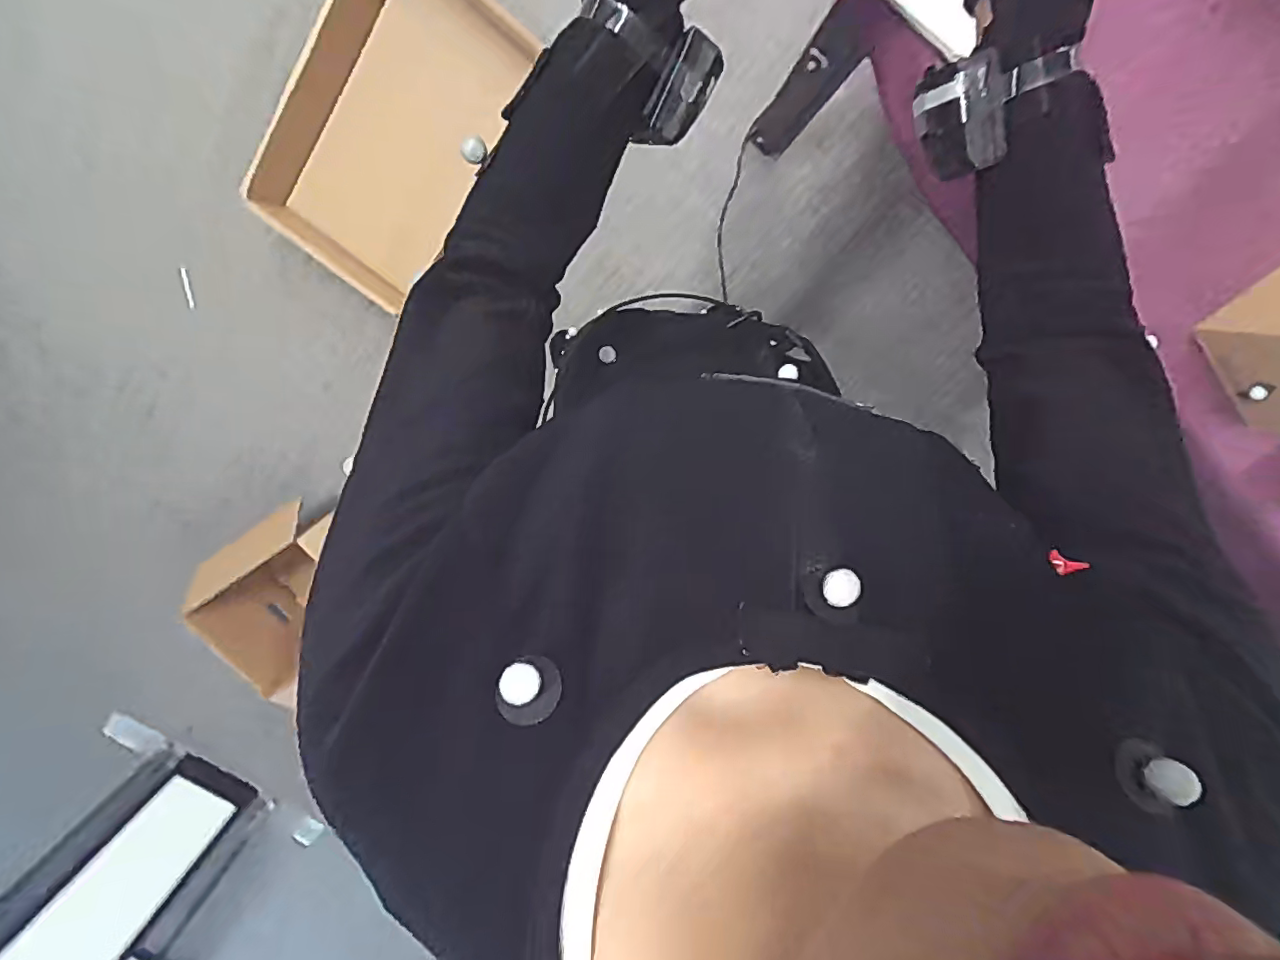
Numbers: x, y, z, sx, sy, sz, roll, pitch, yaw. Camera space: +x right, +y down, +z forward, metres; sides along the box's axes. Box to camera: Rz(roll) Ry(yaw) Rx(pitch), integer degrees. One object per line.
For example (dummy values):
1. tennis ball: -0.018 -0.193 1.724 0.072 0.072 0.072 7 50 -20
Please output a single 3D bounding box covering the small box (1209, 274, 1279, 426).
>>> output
1. small box: 0.781 -0.153 0.563 0.179 0.176 0.168 -40 104 15
